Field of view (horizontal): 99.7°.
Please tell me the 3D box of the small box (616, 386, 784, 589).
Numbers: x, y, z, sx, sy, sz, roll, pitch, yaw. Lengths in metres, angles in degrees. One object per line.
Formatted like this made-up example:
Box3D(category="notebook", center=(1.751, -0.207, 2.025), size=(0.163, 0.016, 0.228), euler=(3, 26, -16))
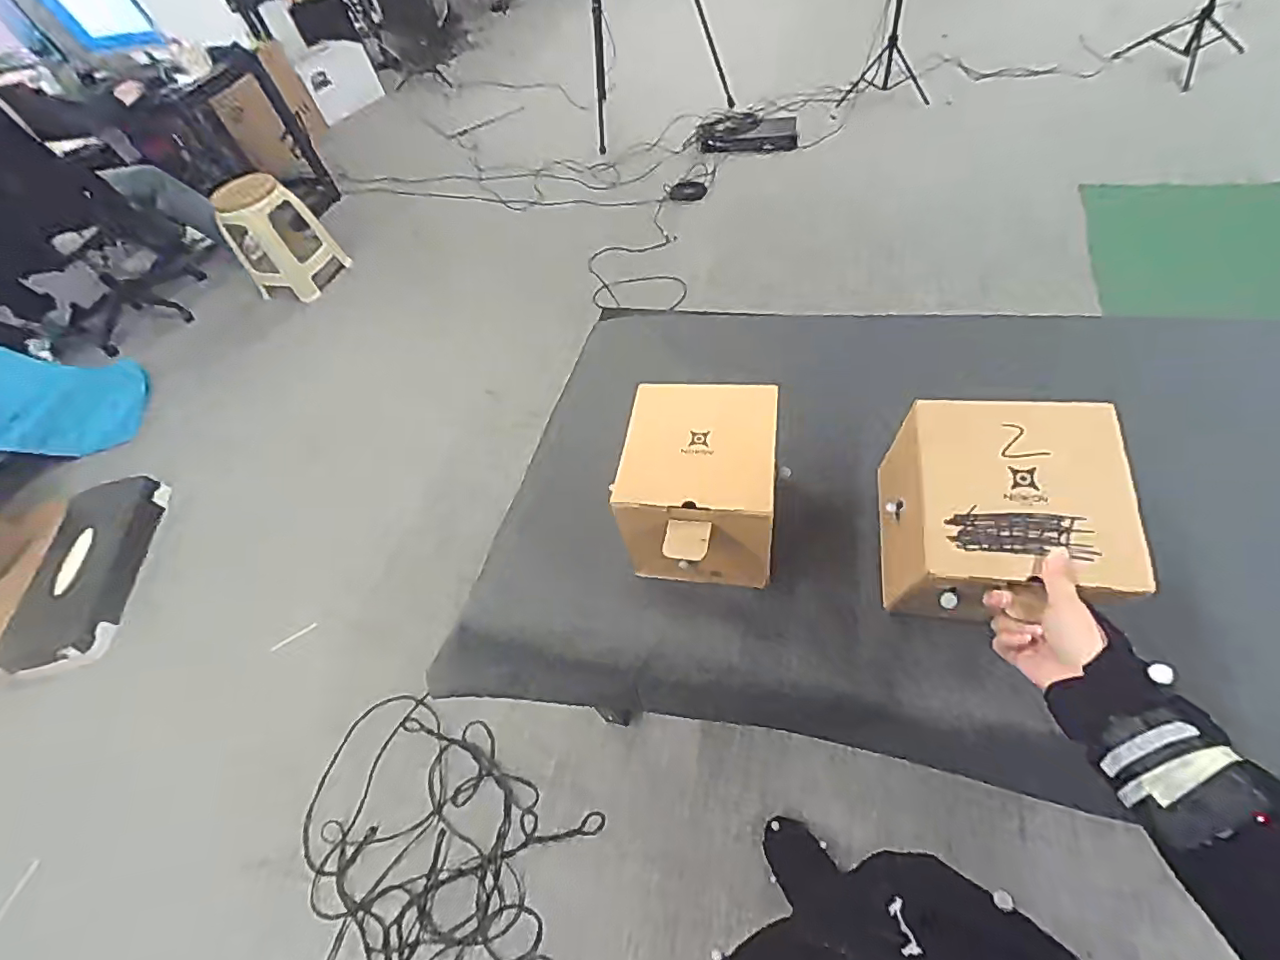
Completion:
Box3D(category="small box", center=(0.080, 0.010, 0.650), size=(0.168, 0.176, 0.179), euler=(3, 55, 13))
